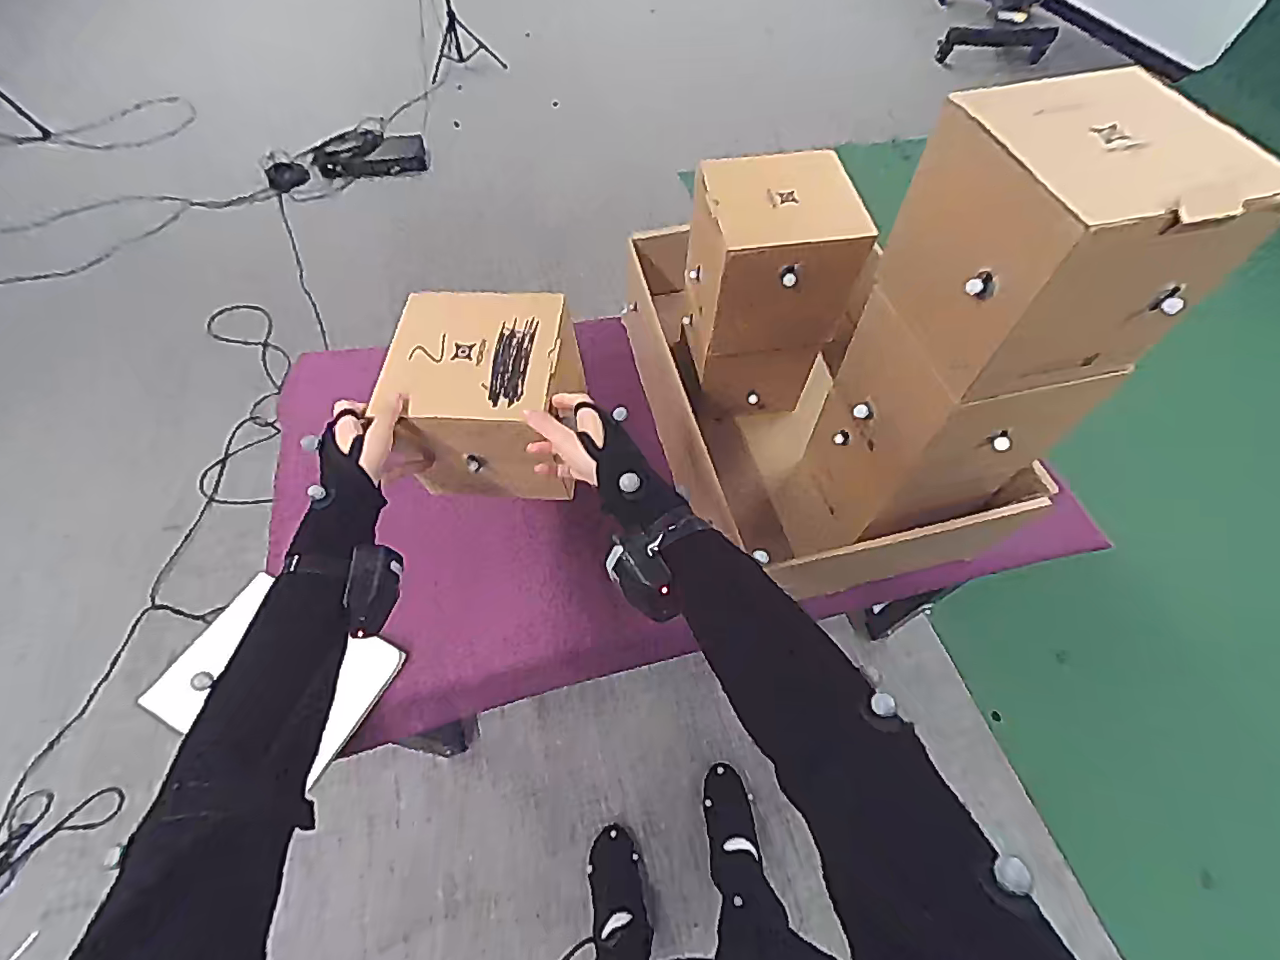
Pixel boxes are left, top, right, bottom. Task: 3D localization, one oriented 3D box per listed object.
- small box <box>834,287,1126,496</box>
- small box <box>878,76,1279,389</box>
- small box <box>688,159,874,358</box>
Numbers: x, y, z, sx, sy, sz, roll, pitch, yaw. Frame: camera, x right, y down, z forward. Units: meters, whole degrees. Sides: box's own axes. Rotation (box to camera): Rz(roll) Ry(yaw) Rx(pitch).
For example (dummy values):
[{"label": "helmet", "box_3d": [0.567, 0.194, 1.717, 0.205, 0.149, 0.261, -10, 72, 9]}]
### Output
[{"label": "small box", "box_3d": [0.340, -0.103, 0.586, 0.179, 0.176, 0.168, -12, 59, -4]}, {"label": "small box", "box_3d": [0.332, -0.193, 0.451, 0.168, 0.176, 0.179, -11, 58, -5]}, {"label": "small box", "box_3d": [0.165, -0.280, 0.701, 0.179, 0.176, 0.168, -8, 61, -3]}]
